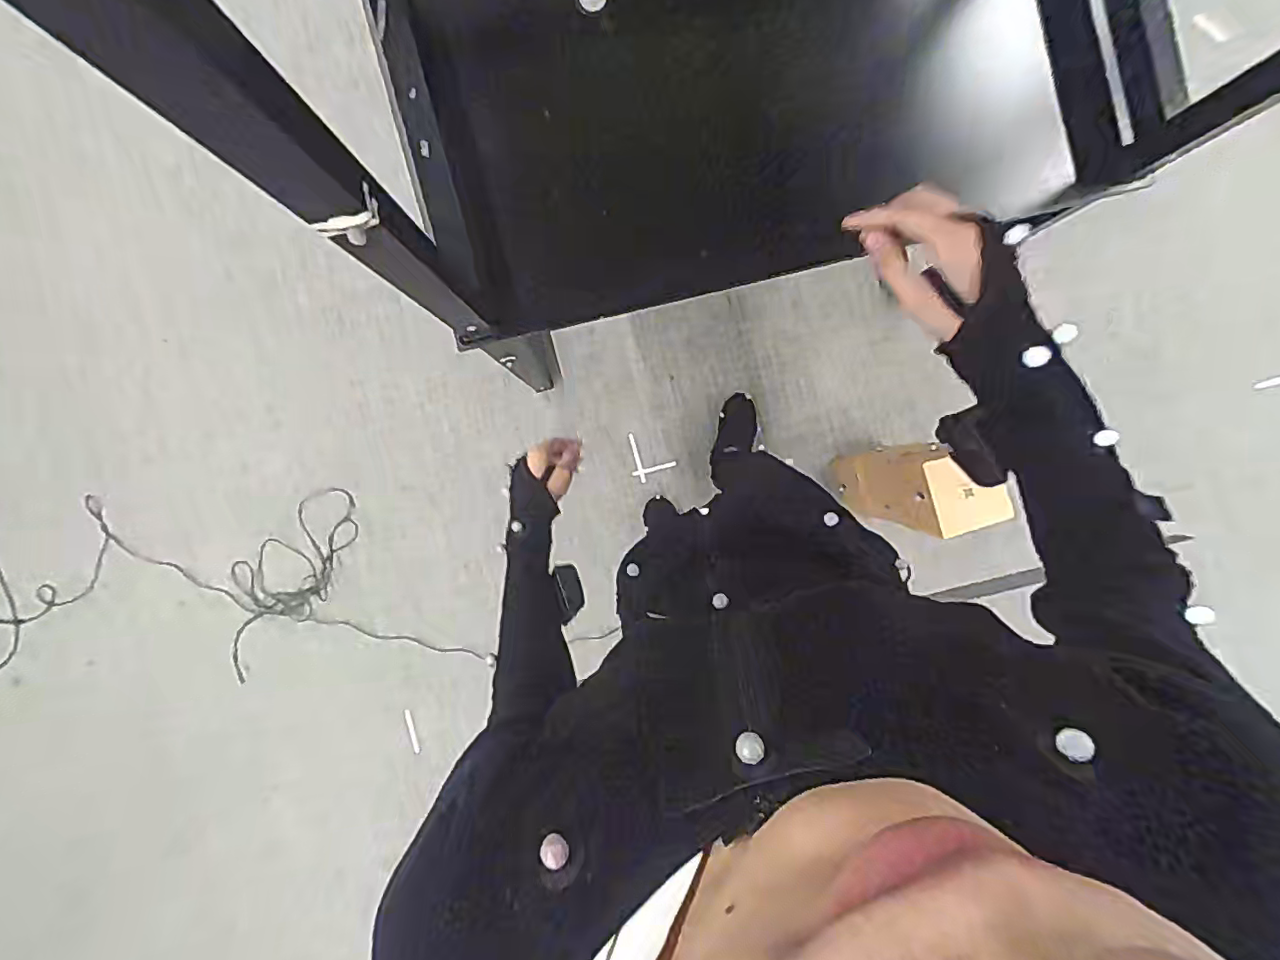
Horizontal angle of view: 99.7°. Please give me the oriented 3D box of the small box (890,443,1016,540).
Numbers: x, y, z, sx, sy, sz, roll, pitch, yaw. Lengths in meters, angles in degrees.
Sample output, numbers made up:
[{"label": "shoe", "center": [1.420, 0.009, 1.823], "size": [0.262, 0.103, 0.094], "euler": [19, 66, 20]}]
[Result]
[{"label": "small box", "center": [0.708, 0.020, 1.242], "size": [0.168, 0.176, 0.179], "euler": [-18, 93, -1]}]

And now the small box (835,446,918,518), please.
[{"label": "small box", "center": [0.695, 0.001, 1.568], "size": [0.179, 0.176, 0.168], "euler": [-16, 92, 0]}]
